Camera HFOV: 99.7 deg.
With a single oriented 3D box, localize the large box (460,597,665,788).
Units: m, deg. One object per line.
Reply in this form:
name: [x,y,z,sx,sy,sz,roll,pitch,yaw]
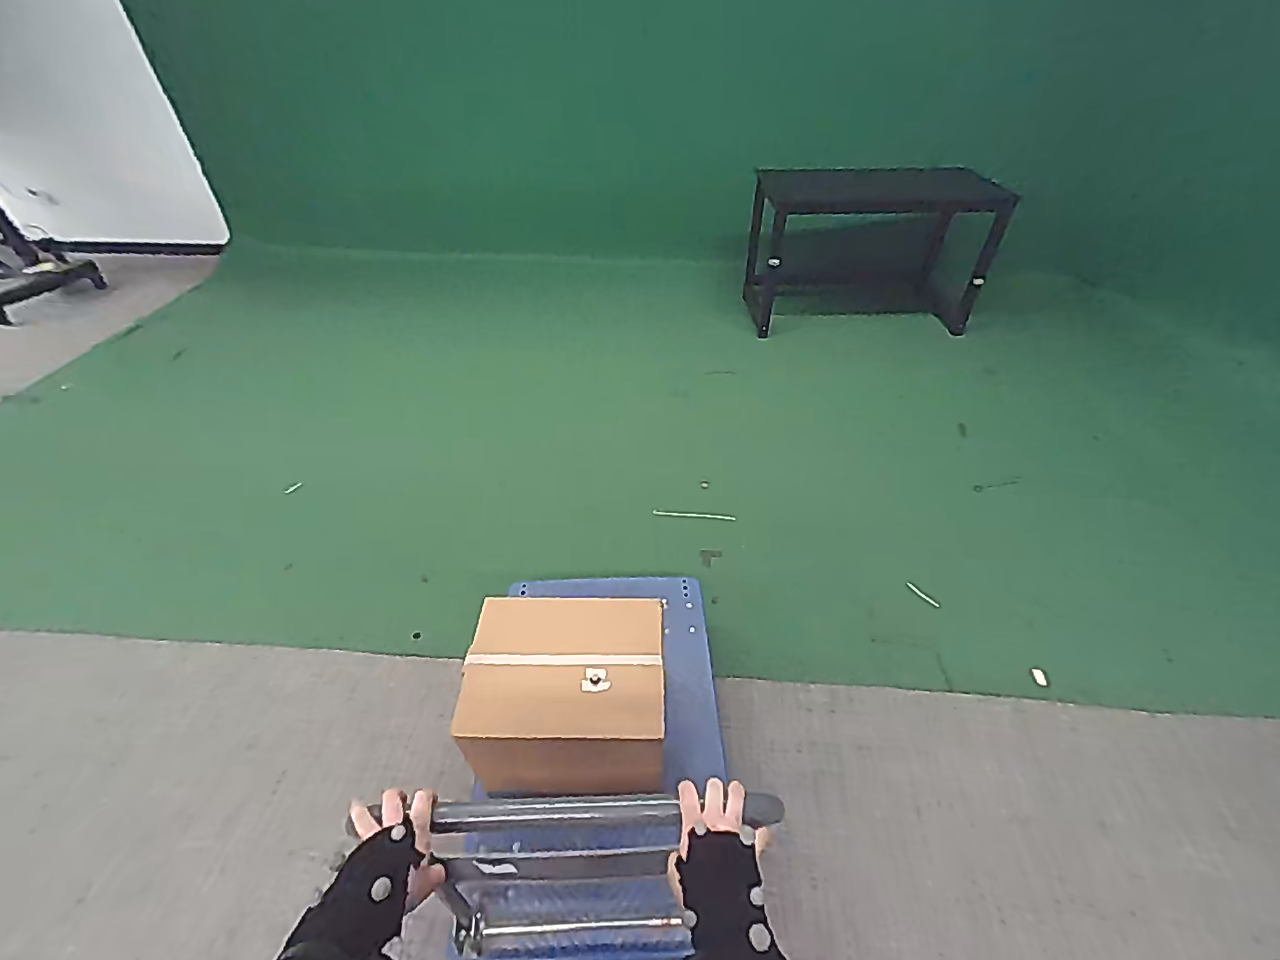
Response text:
large box: [-0.154,0.487,1.243,0.408,0.320,0.320,1,43,0]
